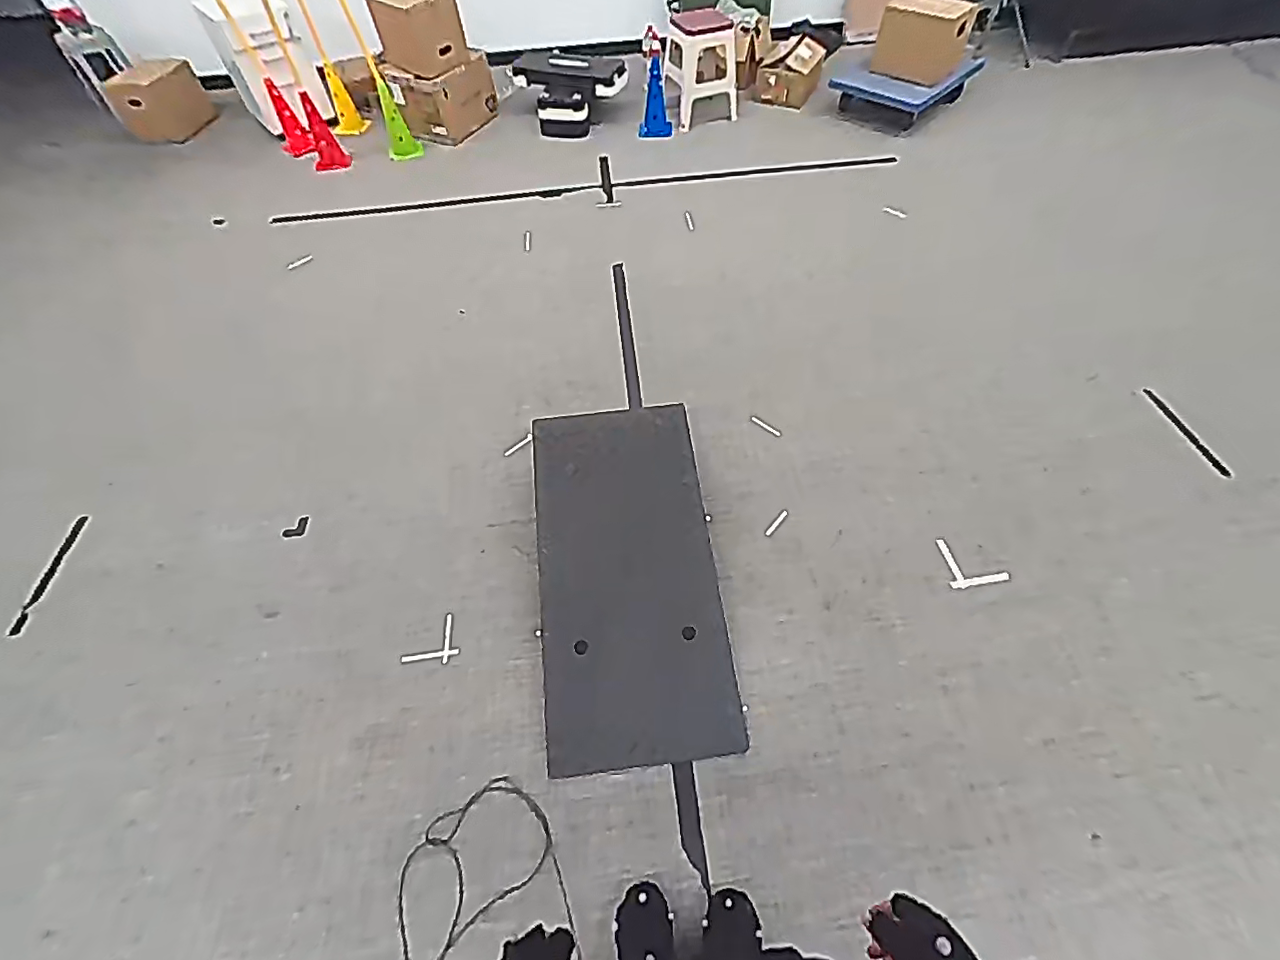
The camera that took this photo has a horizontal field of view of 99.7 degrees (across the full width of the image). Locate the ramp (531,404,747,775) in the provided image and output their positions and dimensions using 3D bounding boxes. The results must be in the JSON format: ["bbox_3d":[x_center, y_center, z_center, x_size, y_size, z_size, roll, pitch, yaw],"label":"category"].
[{"bbox_3d":[-0.037,0.234,1.518,0.509,0.206,0.991,-8,55,-4],"label":"ramp"}]
